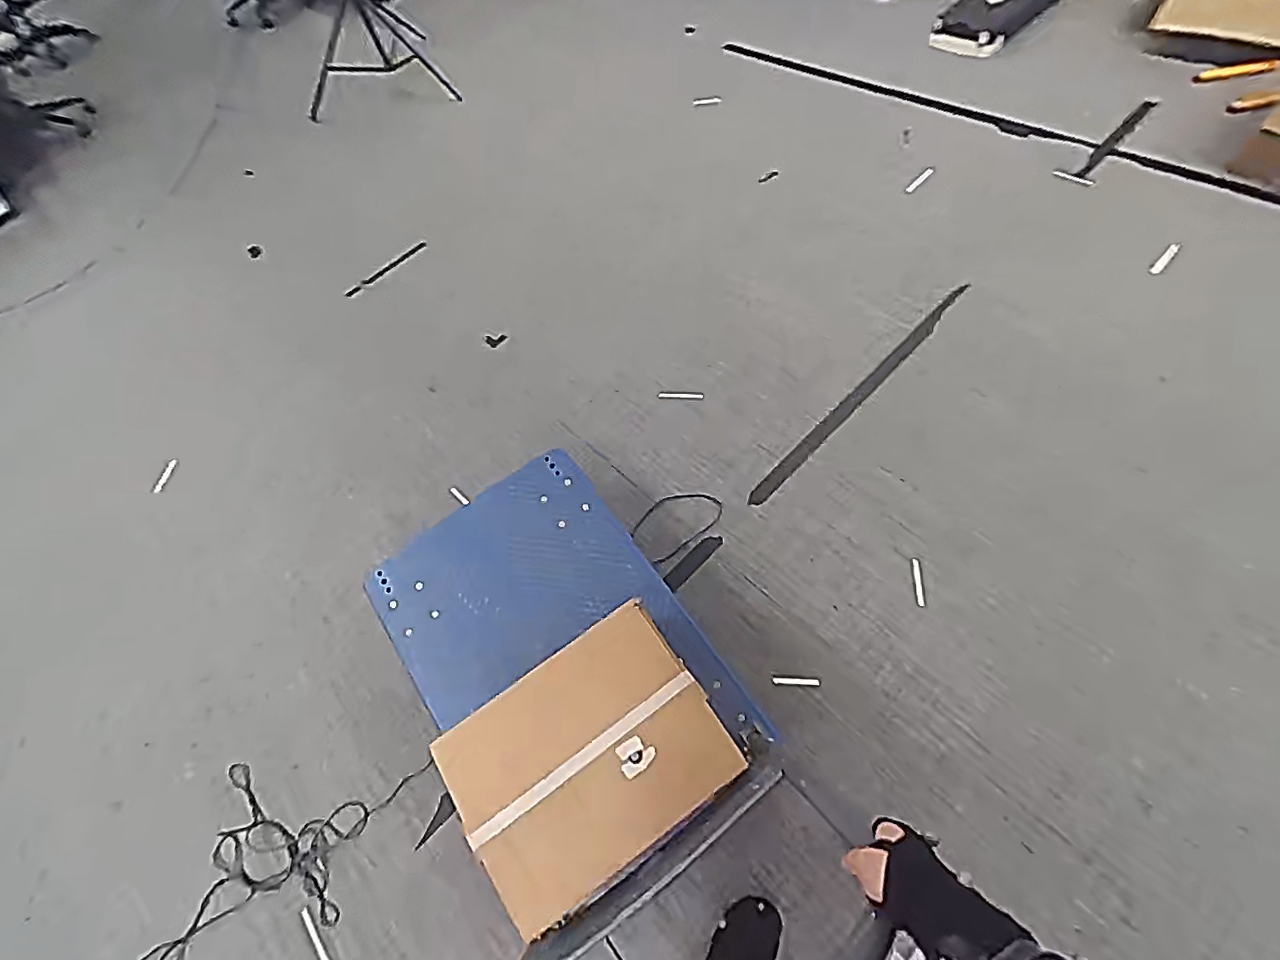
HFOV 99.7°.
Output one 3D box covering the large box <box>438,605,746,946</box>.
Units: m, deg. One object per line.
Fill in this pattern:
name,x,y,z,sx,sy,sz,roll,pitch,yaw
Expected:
large box,-0.071,0.495,0.985,0.408,0.320,0.320,-35,71,-10
